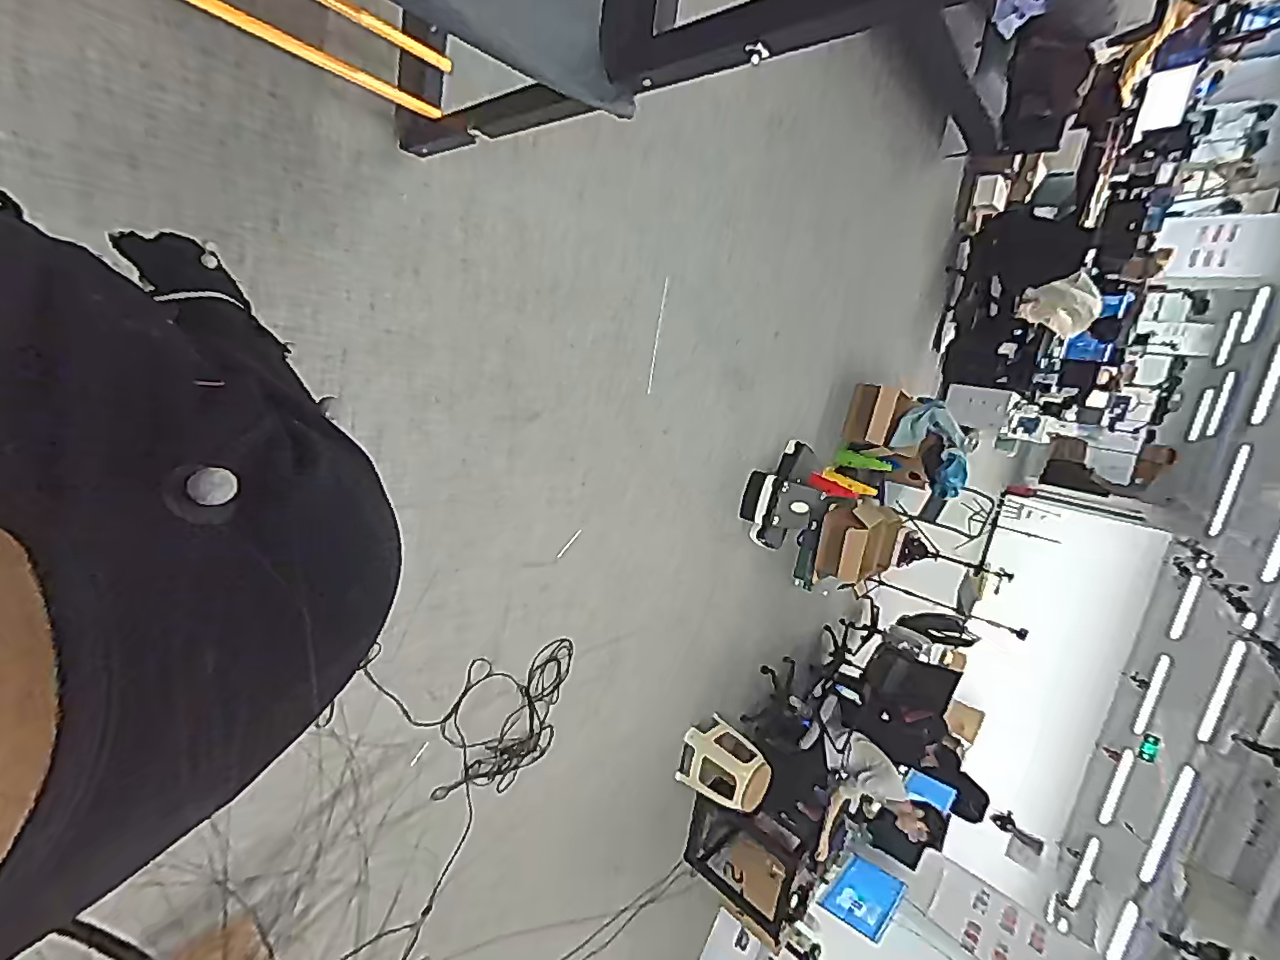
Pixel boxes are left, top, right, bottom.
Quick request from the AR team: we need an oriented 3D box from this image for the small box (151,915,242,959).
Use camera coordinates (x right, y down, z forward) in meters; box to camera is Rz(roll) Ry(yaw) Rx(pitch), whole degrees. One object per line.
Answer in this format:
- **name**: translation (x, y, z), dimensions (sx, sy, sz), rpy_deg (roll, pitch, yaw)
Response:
- **small box**: translation (-1.171, 1.320, 1.424), dimensions (0.168, 0.176, 0.179), rpy_deg (-1, 106, -49)
